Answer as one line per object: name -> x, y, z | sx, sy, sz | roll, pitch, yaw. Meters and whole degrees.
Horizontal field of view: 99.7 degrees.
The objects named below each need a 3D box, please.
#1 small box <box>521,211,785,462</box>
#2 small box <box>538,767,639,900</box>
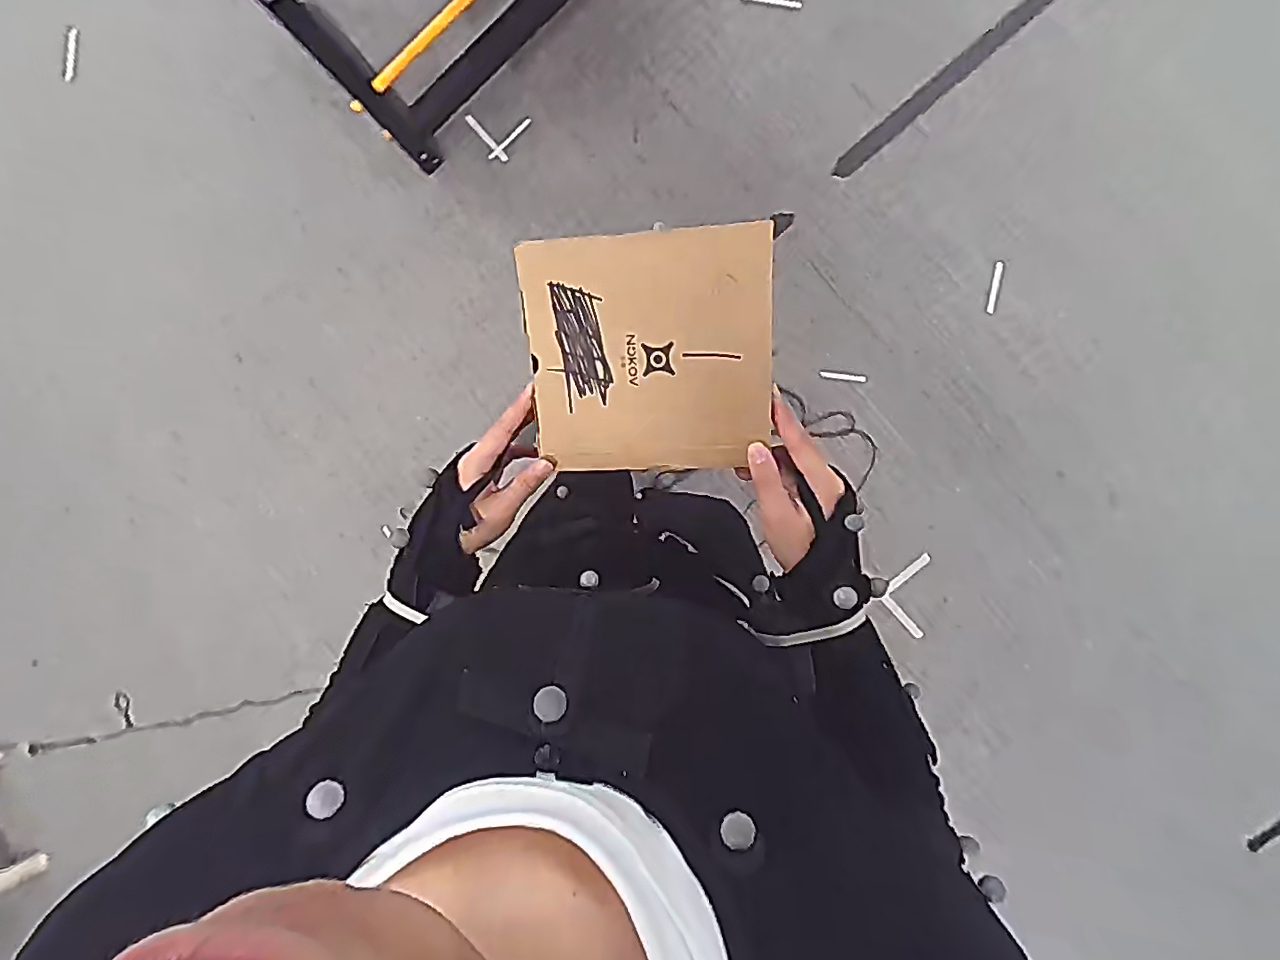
small box -> 0.019, -0.114, 0.448 | 0.179, 0.176, 0.168 | -1, 107, 7
small box -> -0.116, 0.860, 1.332 | 0.168, 0.176, 0.179 | 43, 95, 2
